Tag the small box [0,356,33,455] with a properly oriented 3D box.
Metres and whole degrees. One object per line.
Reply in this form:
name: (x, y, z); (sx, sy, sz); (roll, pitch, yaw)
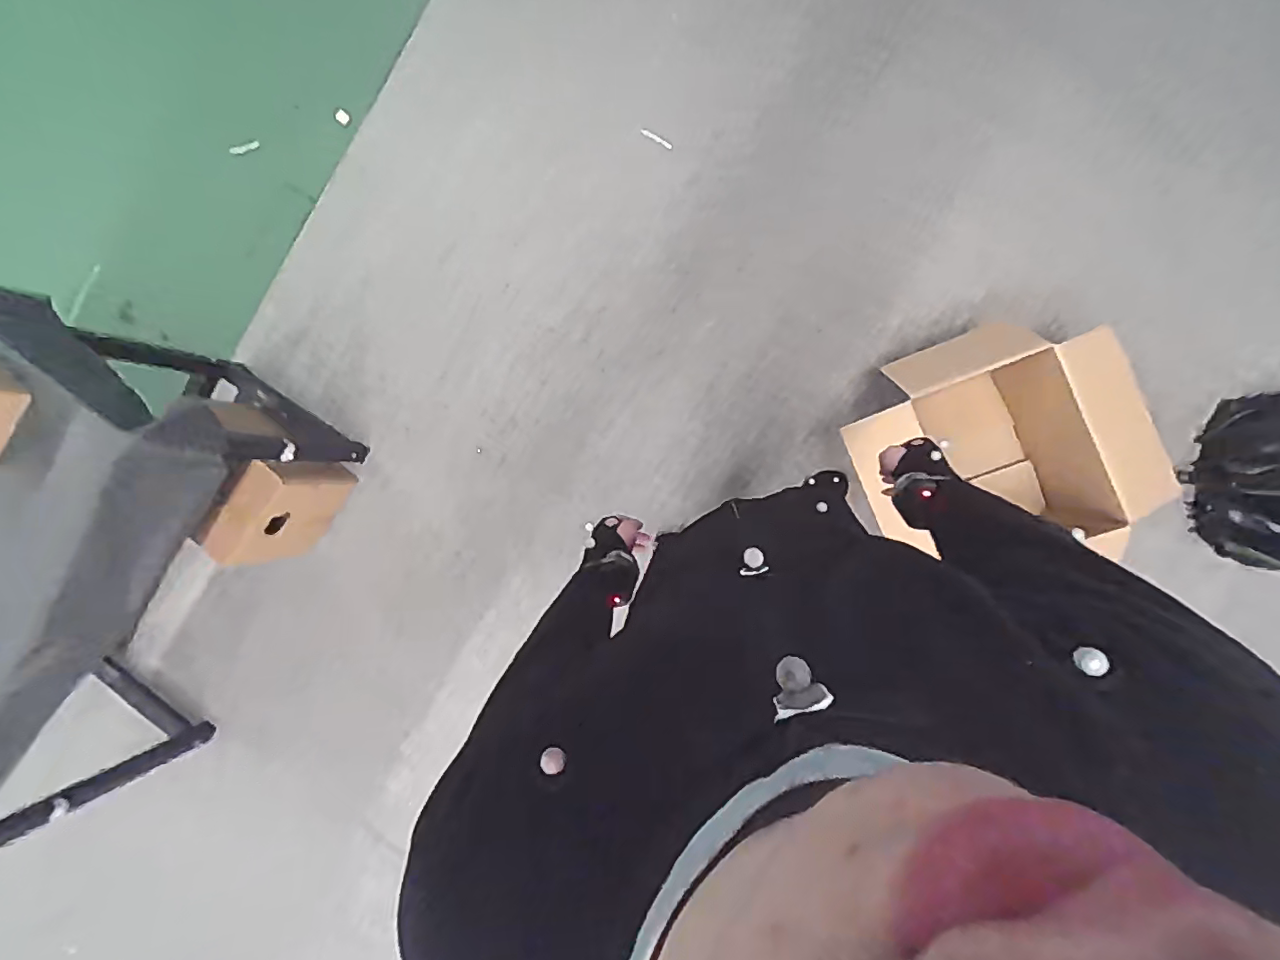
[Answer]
small box: (-1.309, -0.149, 1.005); (0.168, 0.176, 0.179); (37, 96, 8)
